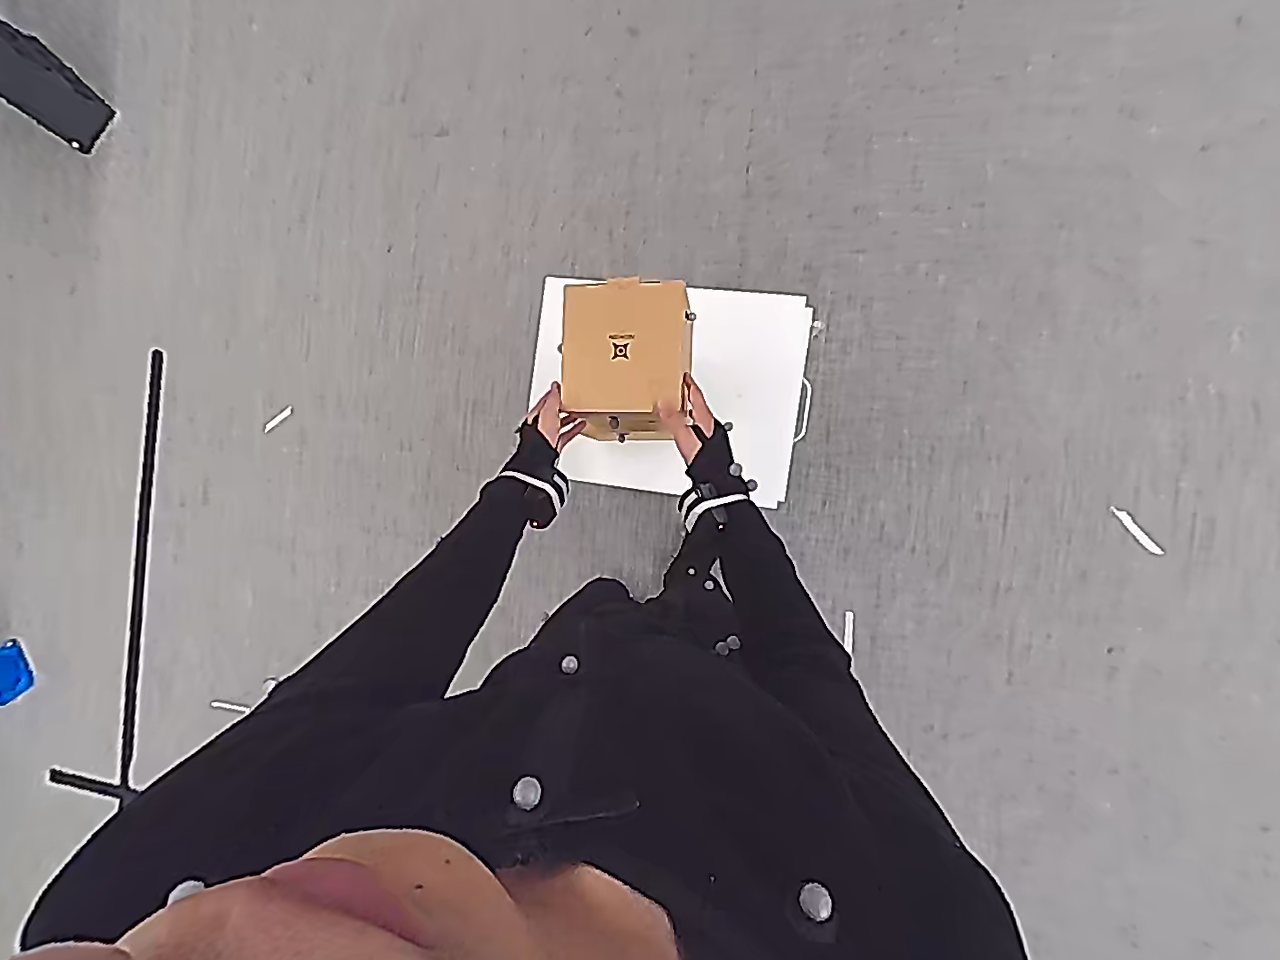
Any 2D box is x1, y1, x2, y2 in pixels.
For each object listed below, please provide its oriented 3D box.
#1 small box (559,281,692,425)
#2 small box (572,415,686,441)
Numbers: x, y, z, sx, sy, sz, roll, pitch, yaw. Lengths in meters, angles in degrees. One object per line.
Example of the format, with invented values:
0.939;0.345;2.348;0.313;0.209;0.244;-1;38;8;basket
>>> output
-0.013;-0.175;0.797;0.168;0.176;0.179;2;89;9;small box
-0.012;-0.158;0.961;0.179;0.176;0.168;1;90;9;small box
